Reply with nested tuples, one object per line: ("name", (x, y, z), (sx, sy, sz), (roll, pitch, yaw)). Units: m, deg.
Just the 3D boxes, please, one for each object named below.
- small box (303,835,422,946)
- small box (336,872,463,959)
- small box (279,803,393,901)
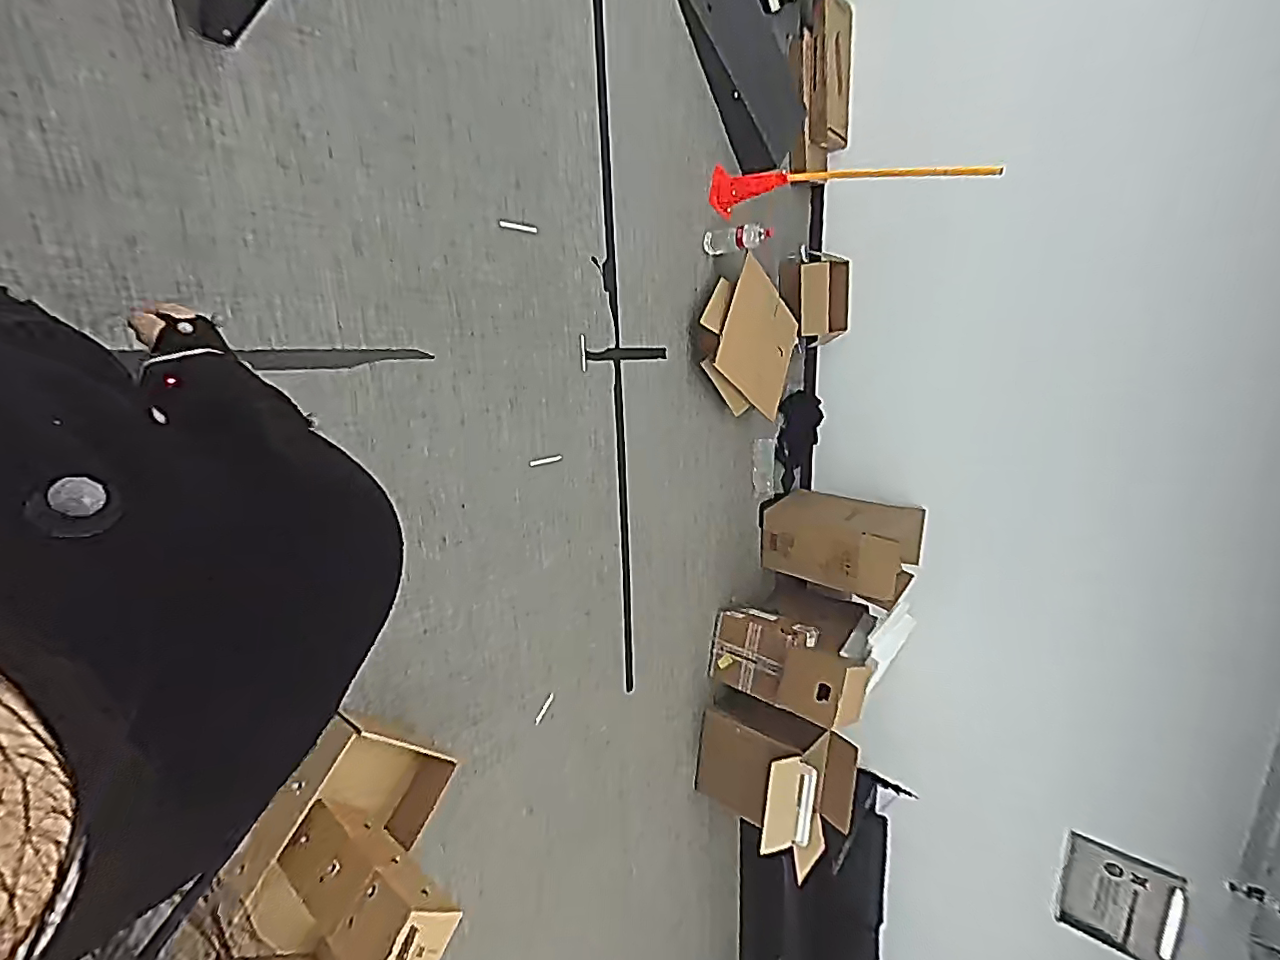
("small box", (-0.693, 1.028, 1.359), (0.179, 0.176, 0.168), (52, 57, -42))
("small box", (-0.562, 1.050, 1.262), (0.168, 0.176, 0.179), (-62, 140, -23))
("small box", (-0.819, 1.005, 1.458), (0.168, 0.176, 0.179), (-60, 138, -25))
